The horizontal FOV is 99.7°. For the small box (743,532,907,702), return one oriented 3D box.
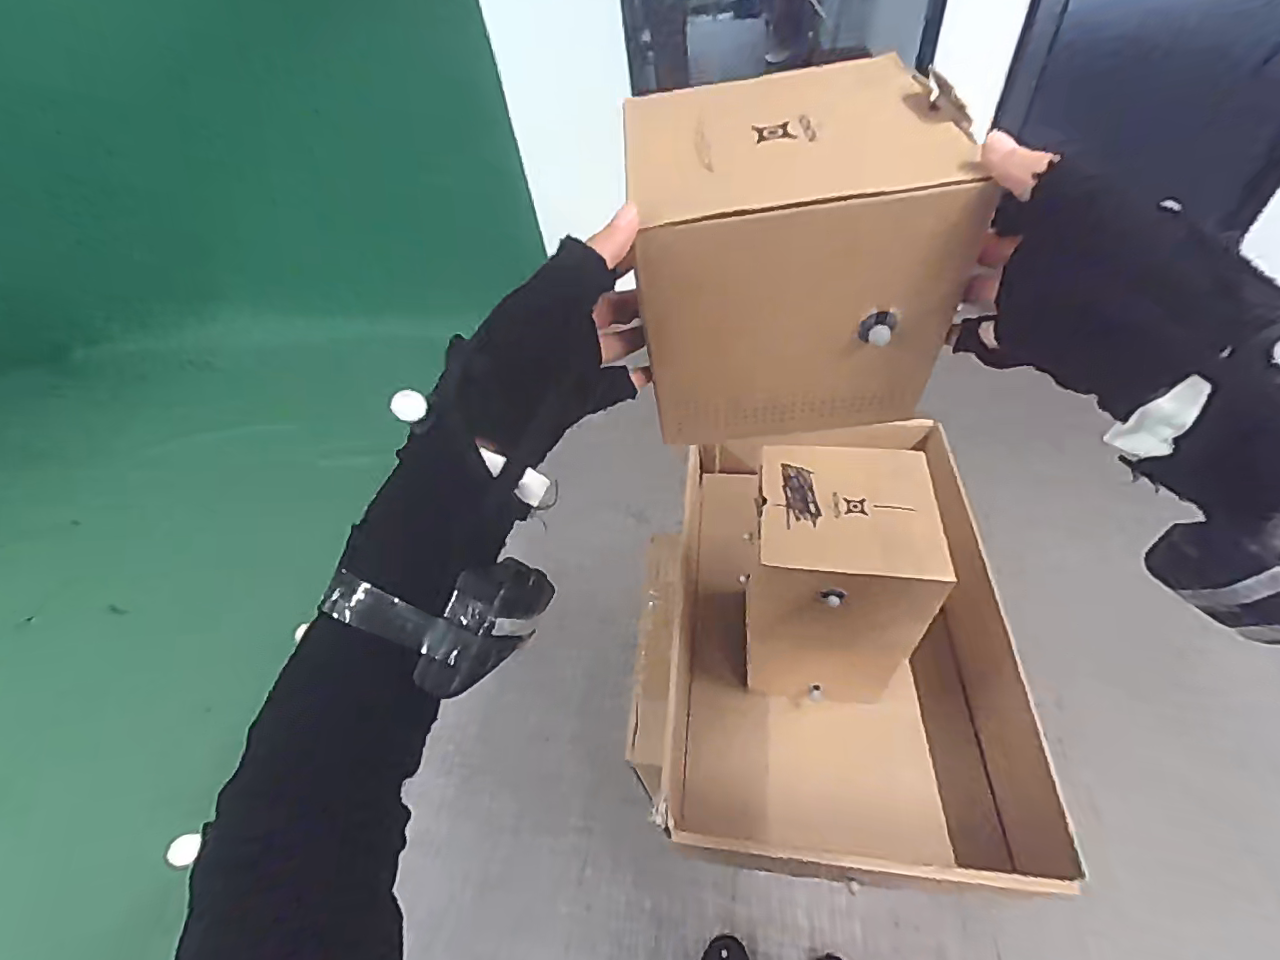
[{"bbox_3d":[0.234,0.186,0.733,0.179,0.176,0.168,2,47,9],"label":"small box"}]

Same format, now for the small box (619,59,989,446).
[{"bbox_3d":[0.085,-0.142,0.365,0.179,0.176,0.168,-7,52,6],"label":"small box"}]

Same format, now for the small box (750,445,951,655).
[{"bbox_3d":[0.217,0.080,0.609,0.179,0.176,0.168,4,49,11],"label":"small box"}]
